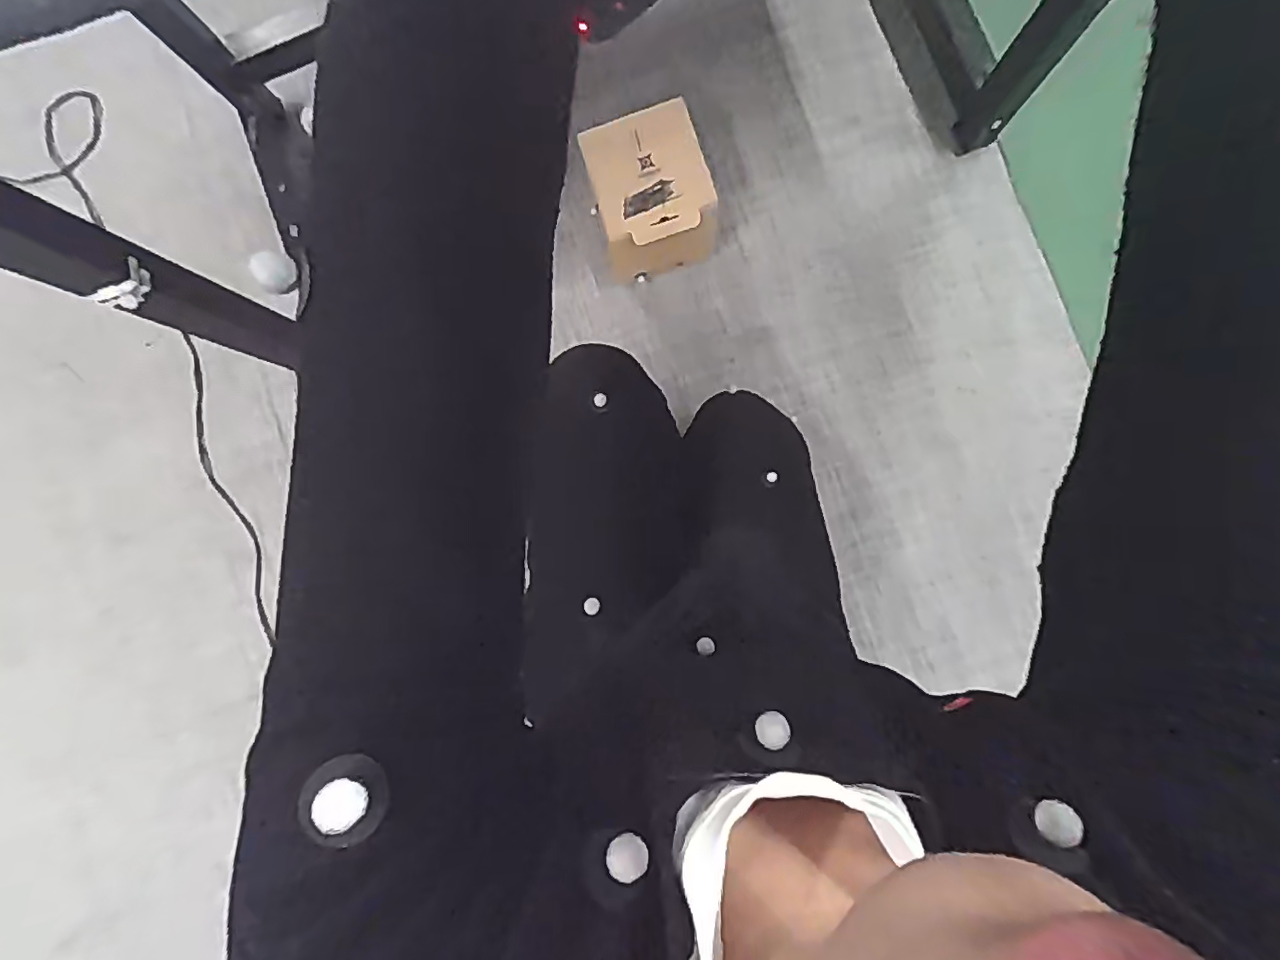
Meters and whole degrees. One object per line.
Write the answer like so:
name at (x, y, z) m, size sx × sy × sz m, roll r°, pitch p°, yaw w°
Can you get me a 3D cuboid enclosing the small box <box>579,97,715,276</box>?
small box at (0.017, -0.451, 0.868) m, size 0.168 × 0.176 × 0.179 m, roll -17°, pitch 85°, yaw 4°
